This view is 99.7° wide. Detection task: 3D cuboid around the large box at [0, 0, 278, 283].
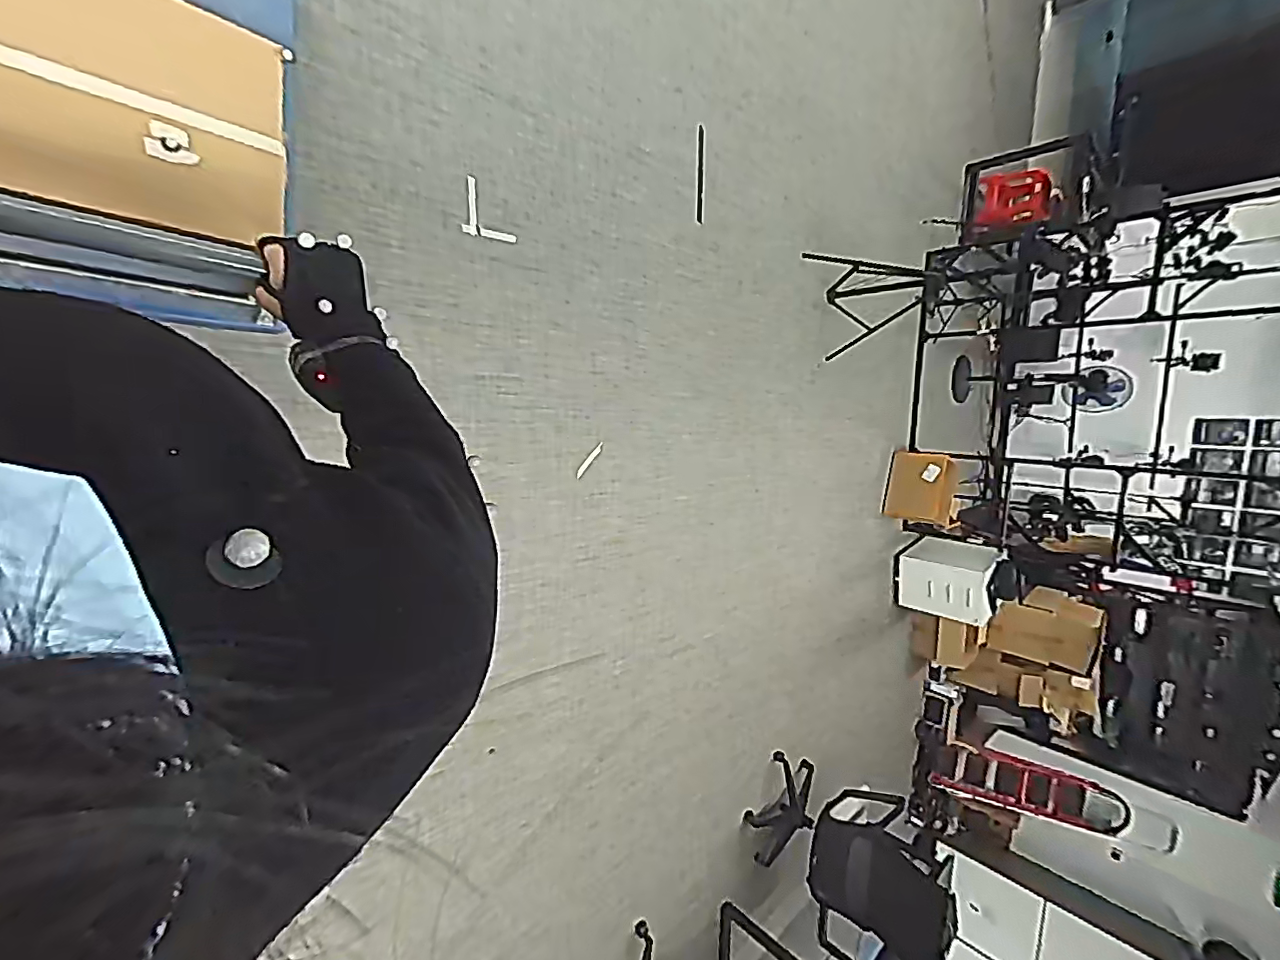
[{"bbox_3d":[-0.819,-0.518,0.814,0.408,0.320,0.320,-1,98,-45],"label":"large box"}]
